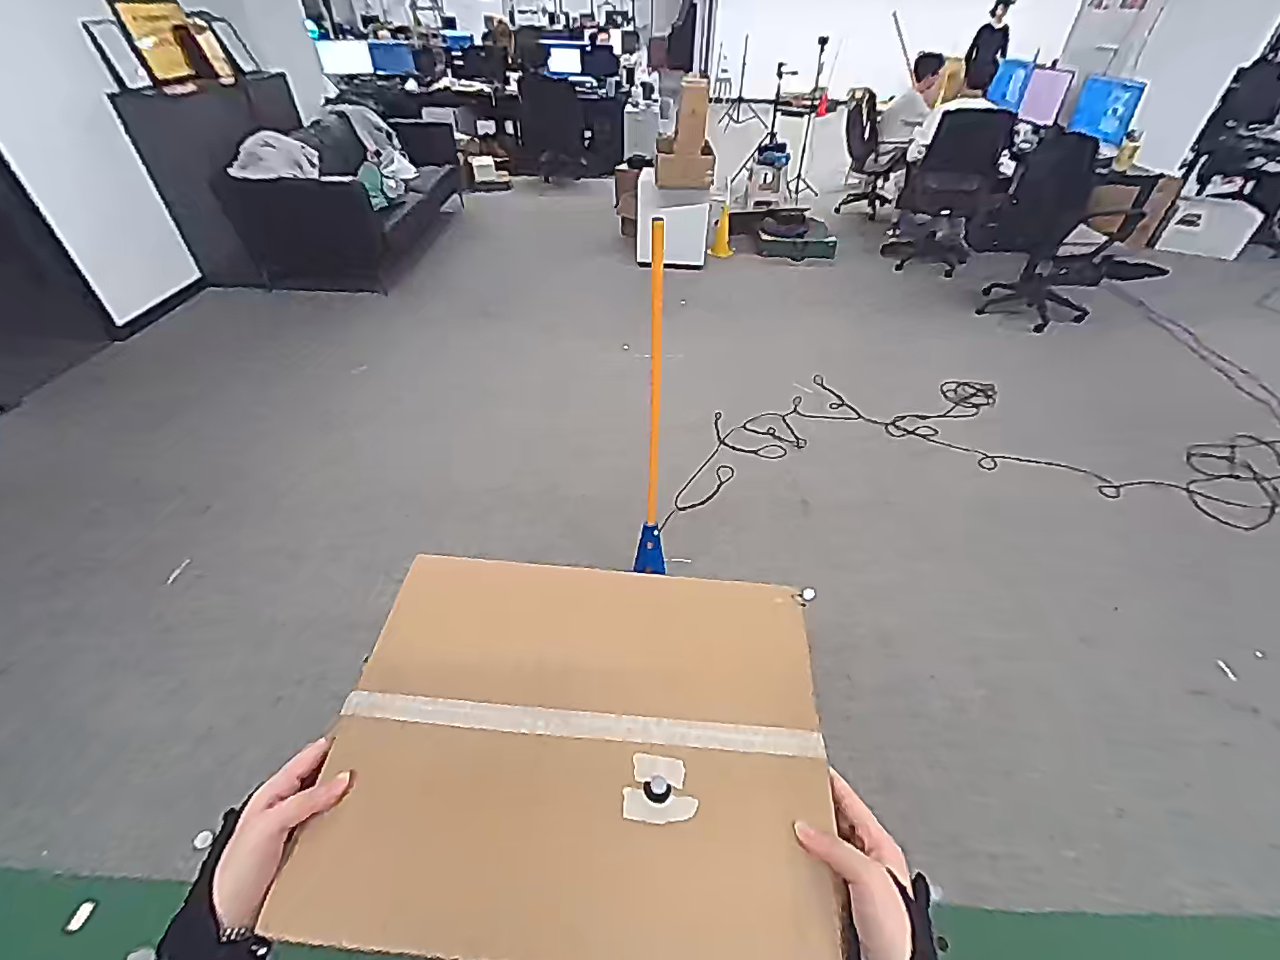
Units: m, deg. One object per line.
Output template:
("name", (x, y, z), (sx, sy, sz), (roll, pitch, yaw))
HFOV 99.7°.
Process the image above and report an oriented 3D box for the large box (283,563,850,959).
("large box", (-0.051, 0.315, 0.580), (0.408, 0.320, 0.320), (5, 47, 1))
